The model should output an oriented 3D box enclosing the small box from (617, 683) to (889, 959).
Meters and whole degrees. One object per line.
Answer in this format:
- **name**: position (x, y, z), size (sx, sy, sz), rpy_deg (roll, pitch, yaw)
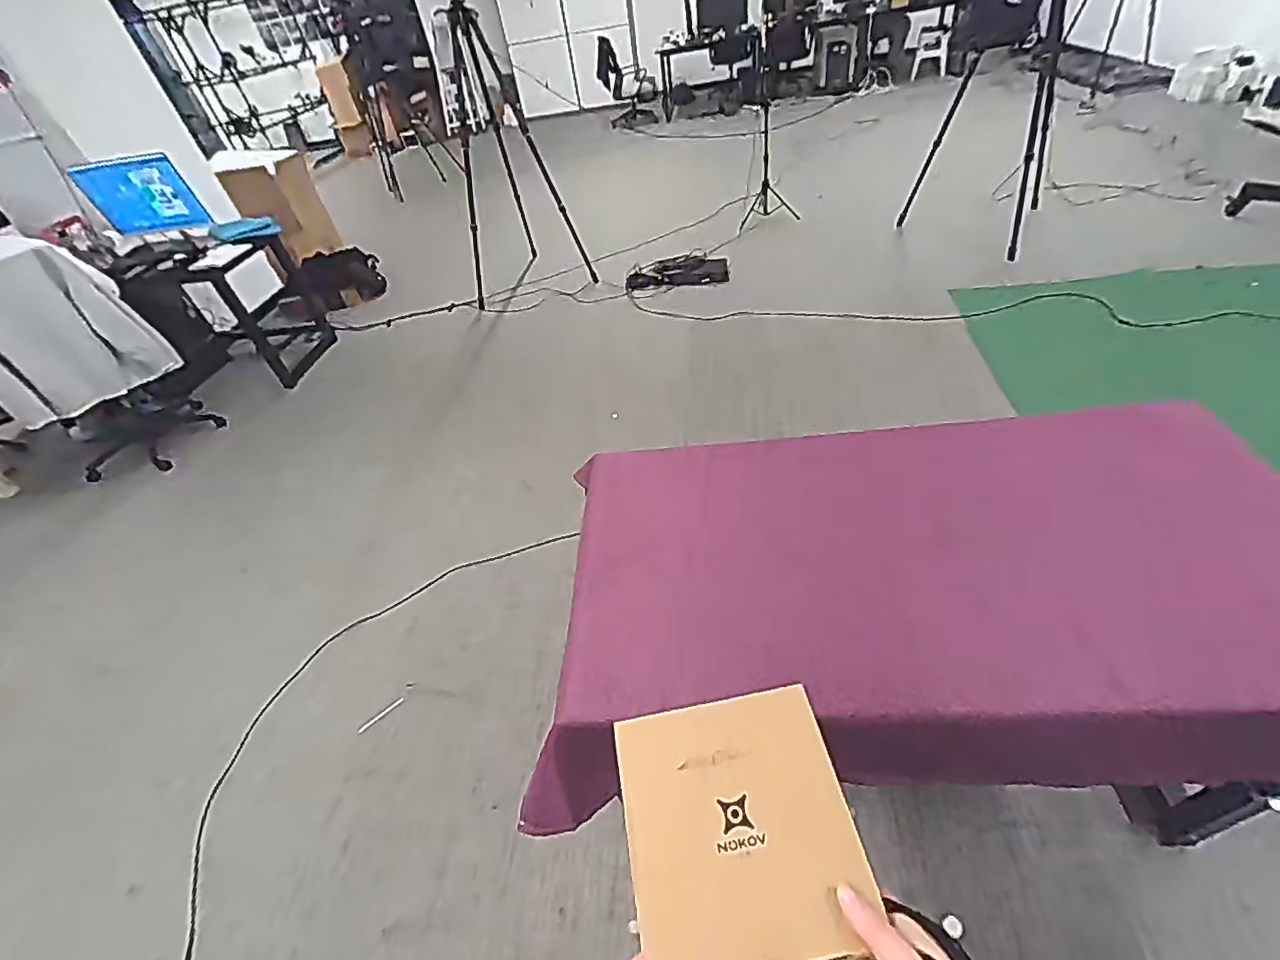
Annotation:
- **small box**: position (0.080, 0.303, 0.463), size (0.168, 0.176, 0.179), rpy_deg (-10, 48, -2)
